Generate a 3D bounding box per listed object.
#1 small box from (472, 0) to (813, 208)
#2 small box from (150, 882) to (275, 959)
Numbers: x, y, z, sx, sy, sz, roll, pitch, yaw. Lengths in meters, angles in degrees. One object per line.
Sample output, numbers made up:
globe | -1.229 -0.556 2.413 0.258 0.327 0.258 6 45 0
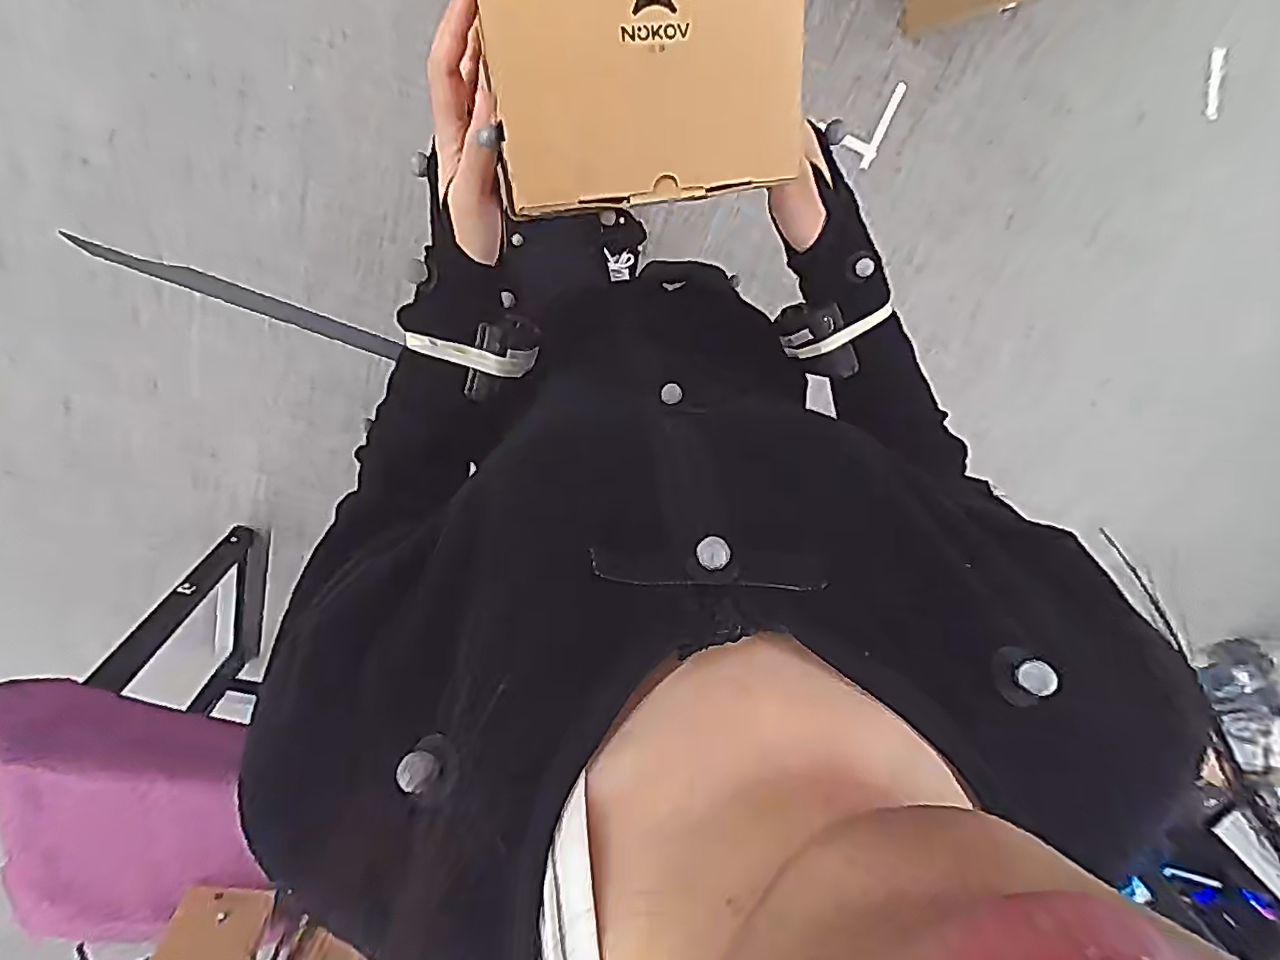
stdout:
small box | -0.011 -0.275 0.334 0.168 0.176 0.179 -12 118 -11
small box | -0.885 0.973 1.114 0.168 0.176 0.179 18 114 -16
